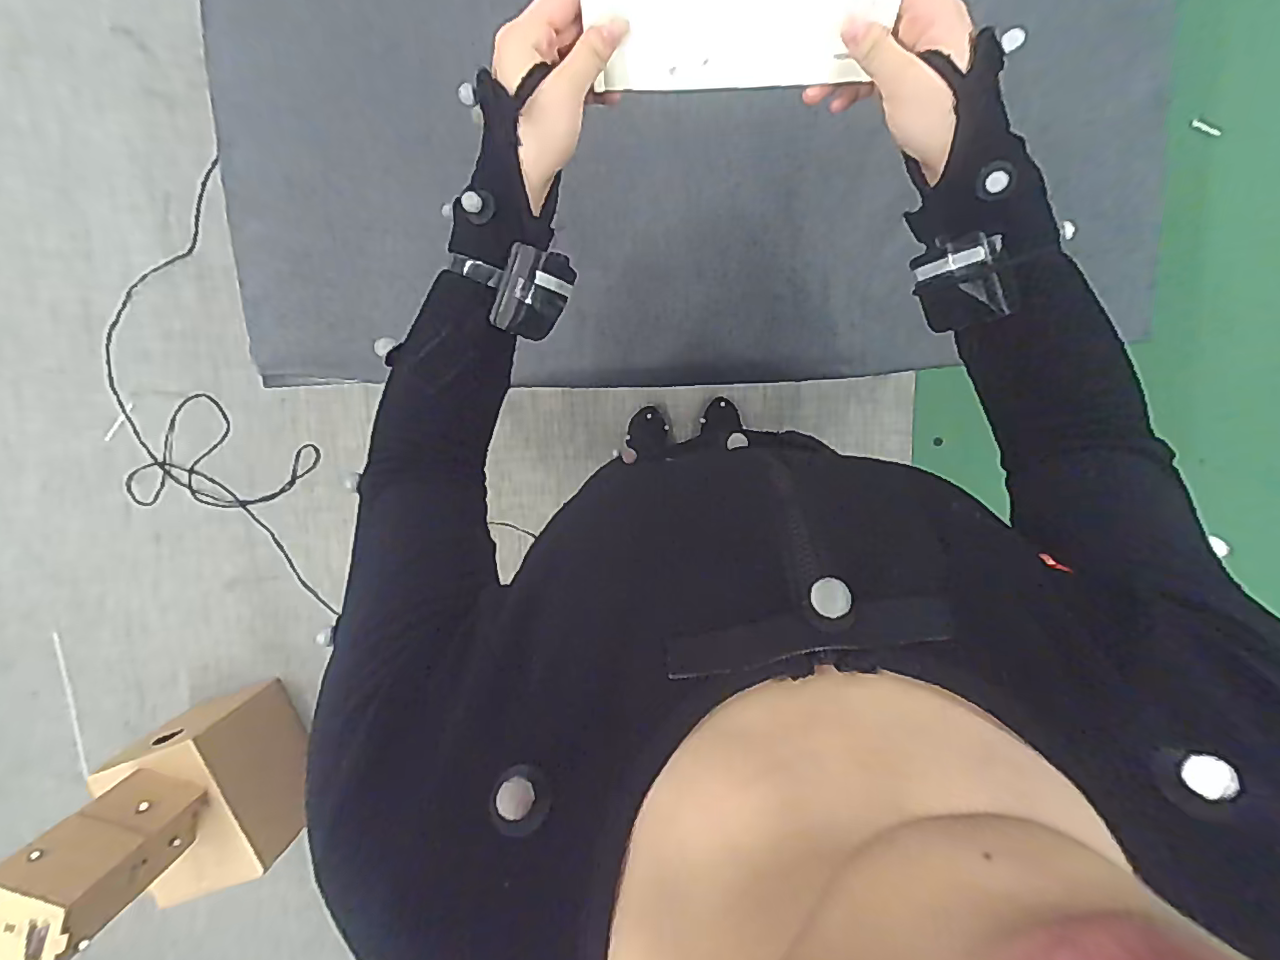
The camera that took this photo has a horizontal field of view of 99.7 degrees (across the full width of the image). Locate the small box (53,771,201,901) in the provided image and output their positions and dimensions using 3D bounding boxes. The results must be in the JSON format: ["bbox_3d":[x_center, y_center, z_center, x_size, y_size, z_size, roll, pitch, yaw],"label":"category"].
[{"bbox_3d":[-1.176,0.815,1.254,0.179,0.176,0.168,19,97,-3],"label":"small box"}]
